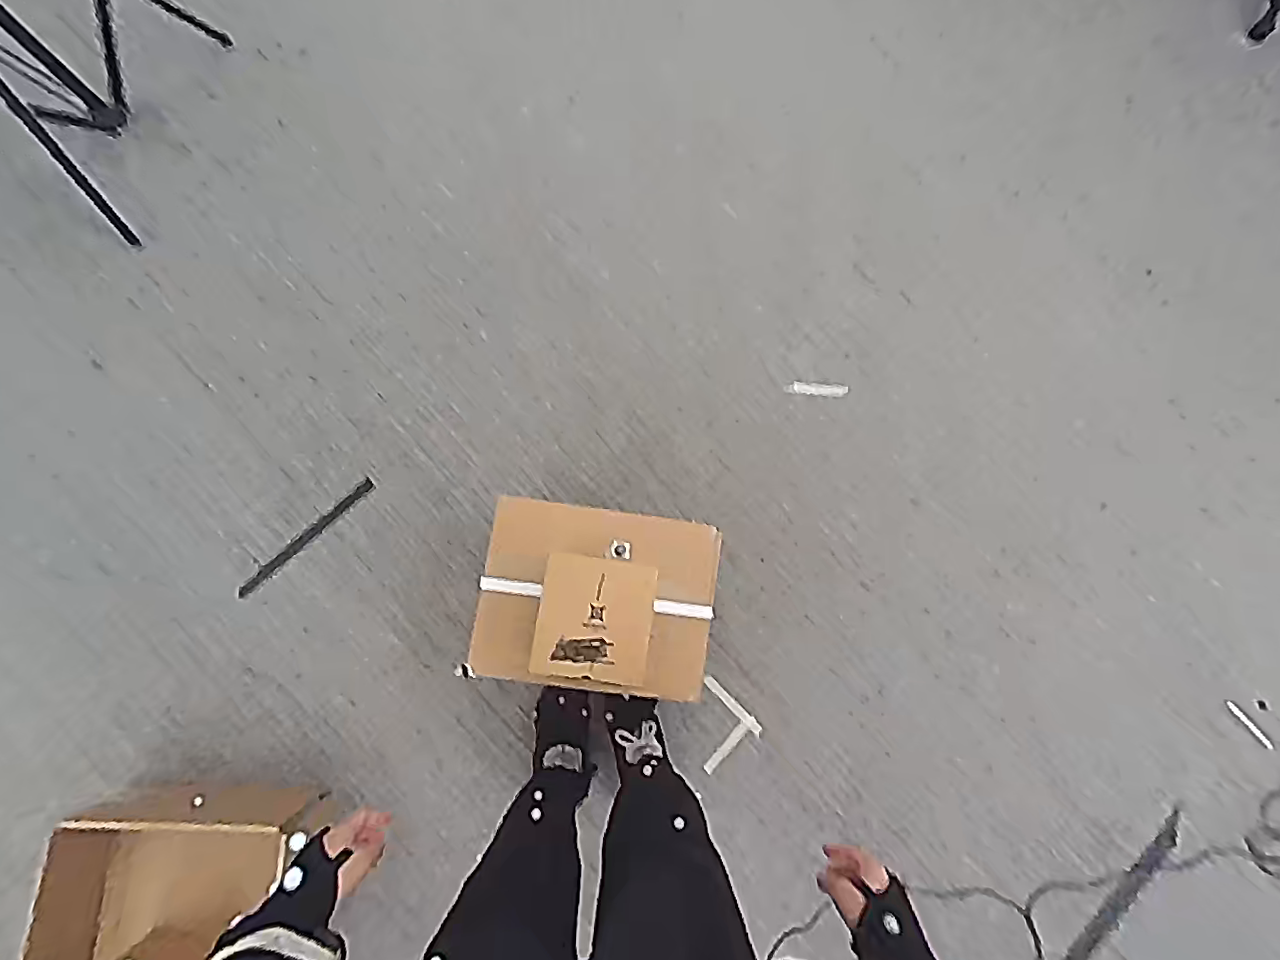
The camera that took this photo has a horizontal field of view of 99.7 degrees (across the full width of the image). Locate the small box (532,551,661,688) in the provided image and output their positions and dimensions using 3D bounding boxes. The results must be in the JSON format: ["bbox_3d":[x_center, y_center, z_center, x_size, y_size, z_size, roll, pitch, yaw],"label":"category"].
[{"bbox_3d":[-0.067,0.214,0.859,0.168,0.176,0.179,9,79,-4],"label":"small box"}]
